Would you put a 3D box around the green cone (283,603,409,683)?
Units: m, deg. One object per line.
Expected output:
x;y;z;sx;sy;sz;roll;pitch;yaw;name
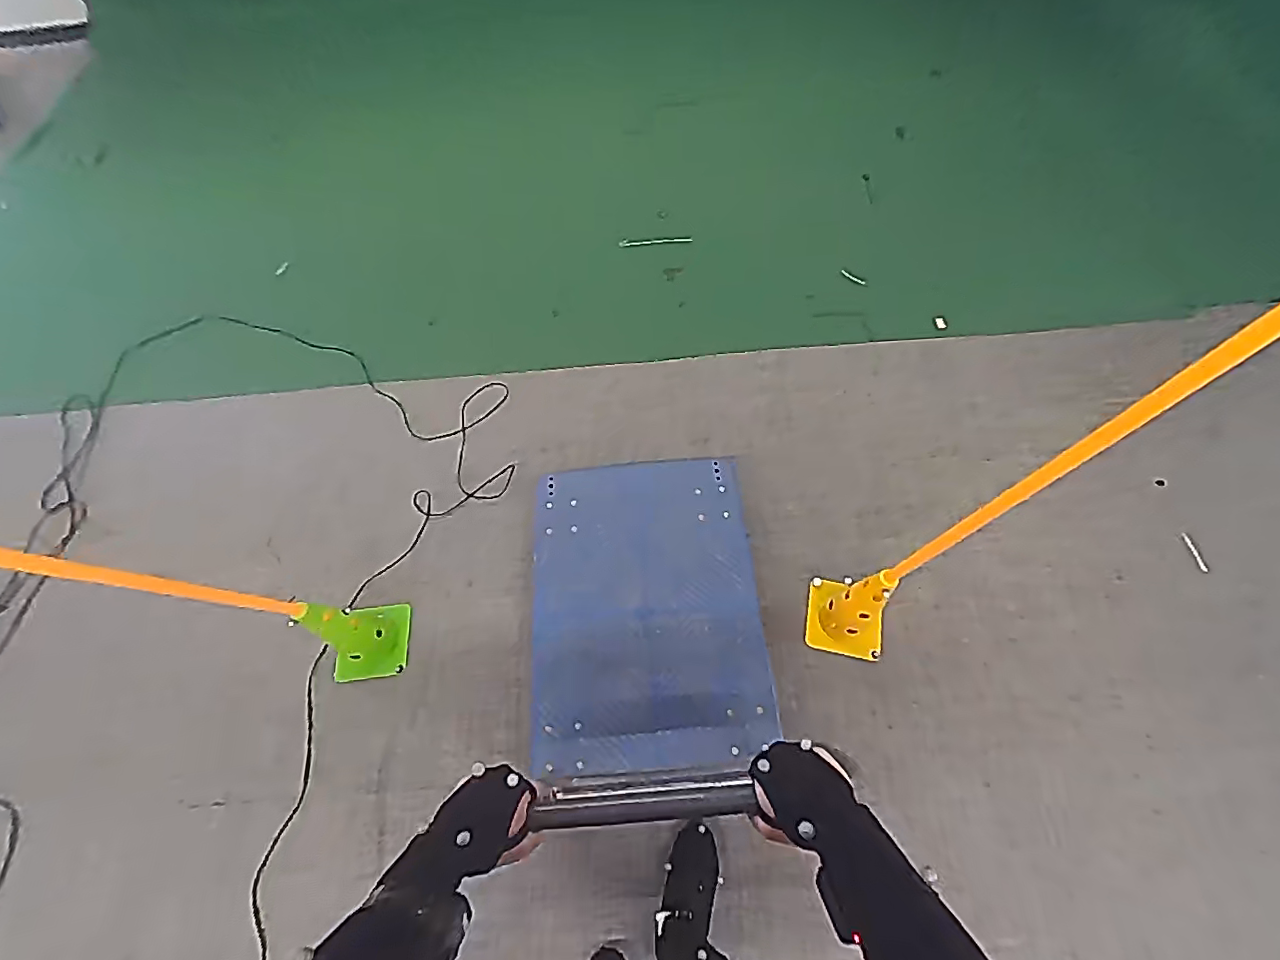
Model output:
-0.775;0.381;1.387;0.202;0.368;0.200;-9;61;1;green cone
